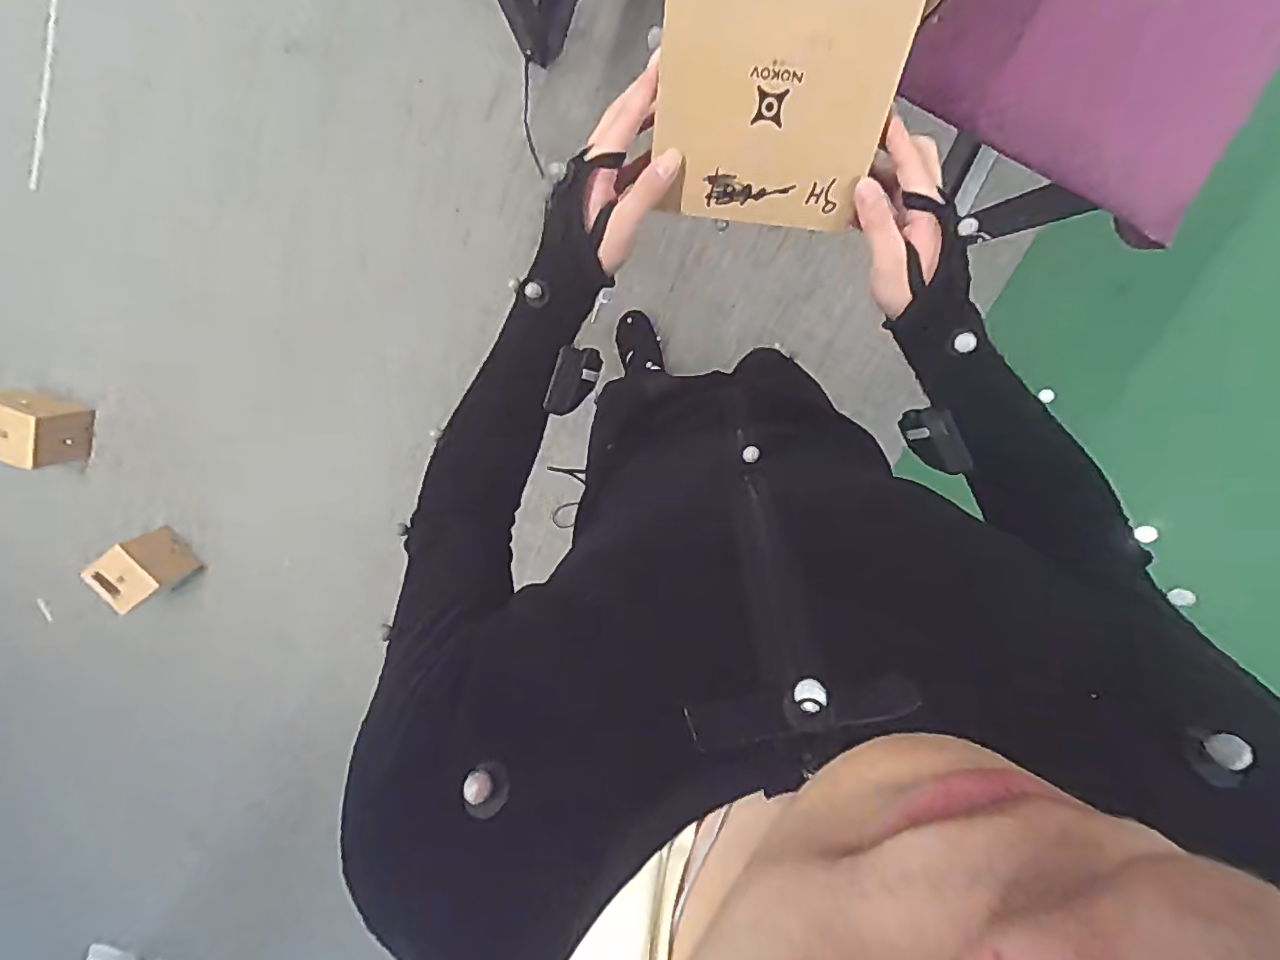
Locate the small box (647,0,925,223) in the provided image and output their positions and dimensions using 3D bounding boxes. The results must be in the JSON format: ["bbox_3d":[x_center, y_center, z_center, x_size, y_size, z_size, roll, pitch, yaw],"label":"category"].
[{"bbox_3d":[0.100,-0.332,0.431,0.168,0.176,0.179,7,133,0],"label":"small box"}]

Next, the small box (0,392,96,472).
[{"bbox_3d":[-1.740,-0.146,1.562,0.179,0.176,0.168,21,104,-4],"label":"small box"}]
